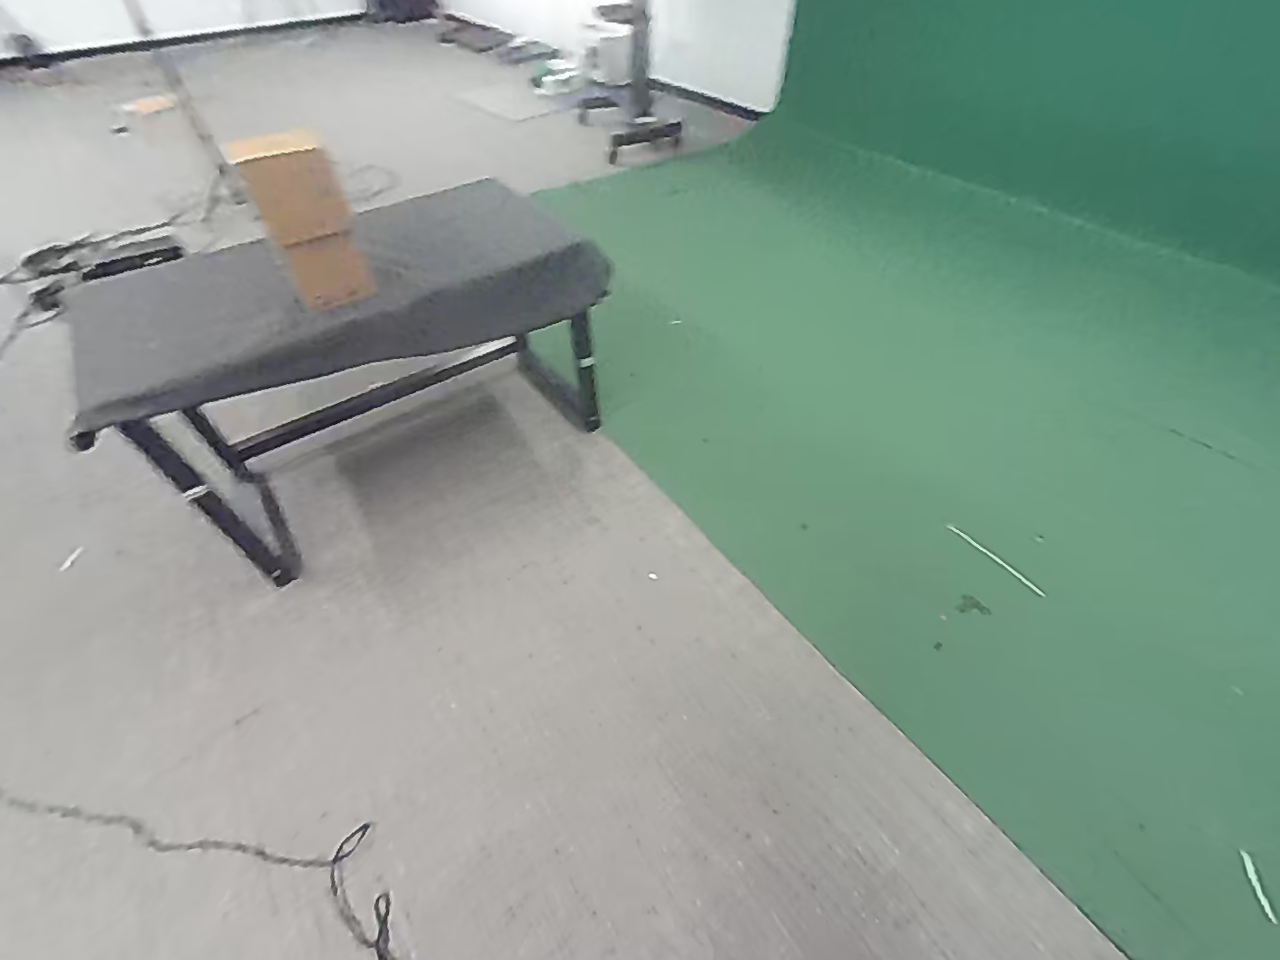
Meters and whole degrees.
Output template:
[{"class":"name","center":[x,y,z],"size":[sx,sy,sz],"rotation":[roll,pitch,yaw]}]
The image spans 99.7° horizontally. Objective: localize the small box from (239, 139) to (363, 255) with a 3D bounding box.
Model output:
[{"class":"small box","center":[-0.744,-0.630,1.204],"size":[0.179,0.176,0.168],"rotation":[-28,51,-20]}]

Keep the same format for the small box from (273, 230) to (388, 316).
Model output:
[{"class":"small box","center":[-0.753,-0.527,1.330],"size":[0.168,0.176,0.179],"rotation":[-31,55,-24]}]
